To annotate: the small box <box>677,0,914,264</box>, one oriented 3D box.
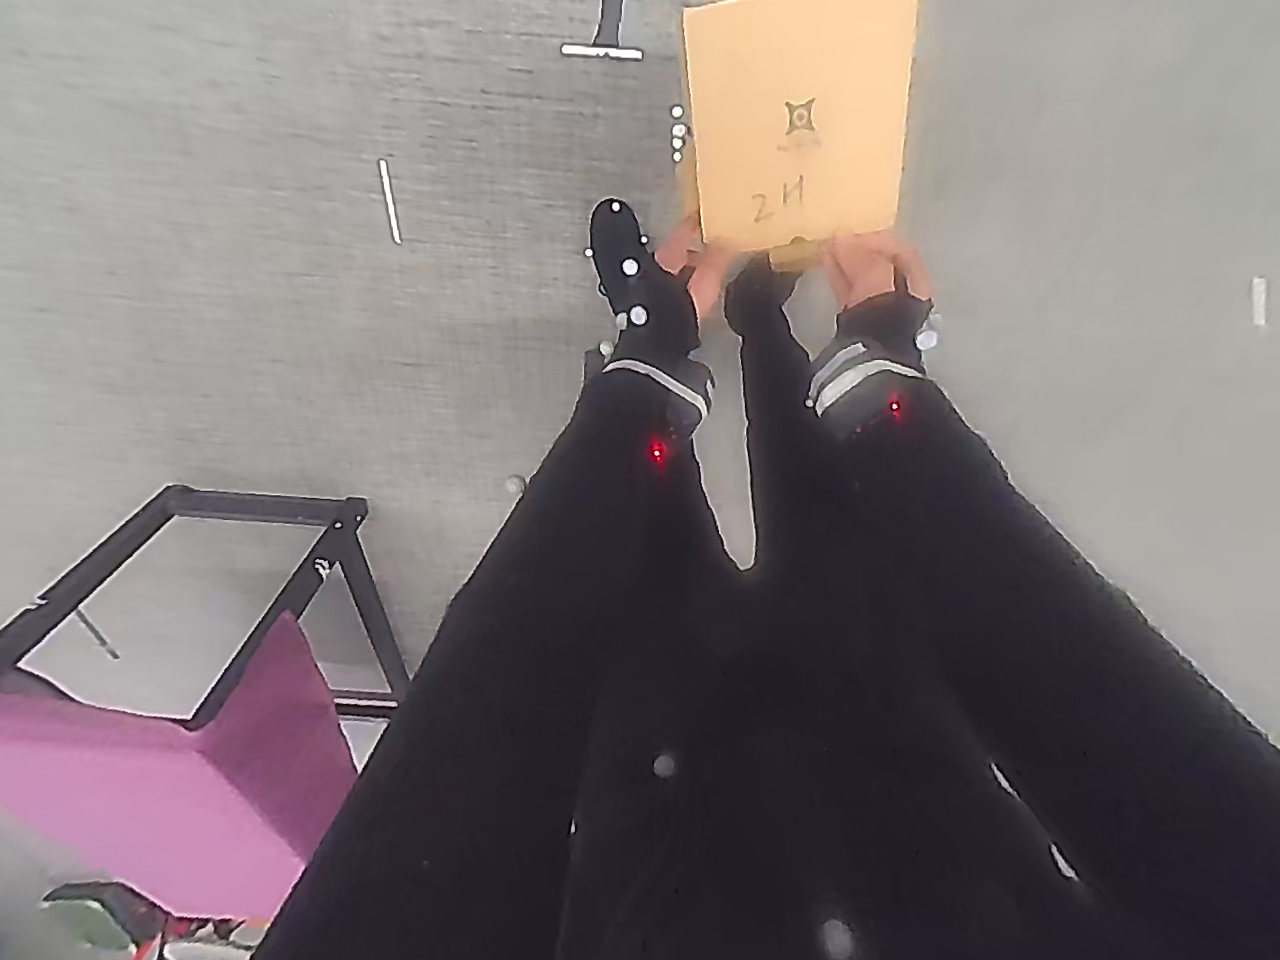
[{"bbox_3d":[0.125,-0.320,0.491,0.168,0.176,0.179,-6,128,8],"label":"small box"}]
